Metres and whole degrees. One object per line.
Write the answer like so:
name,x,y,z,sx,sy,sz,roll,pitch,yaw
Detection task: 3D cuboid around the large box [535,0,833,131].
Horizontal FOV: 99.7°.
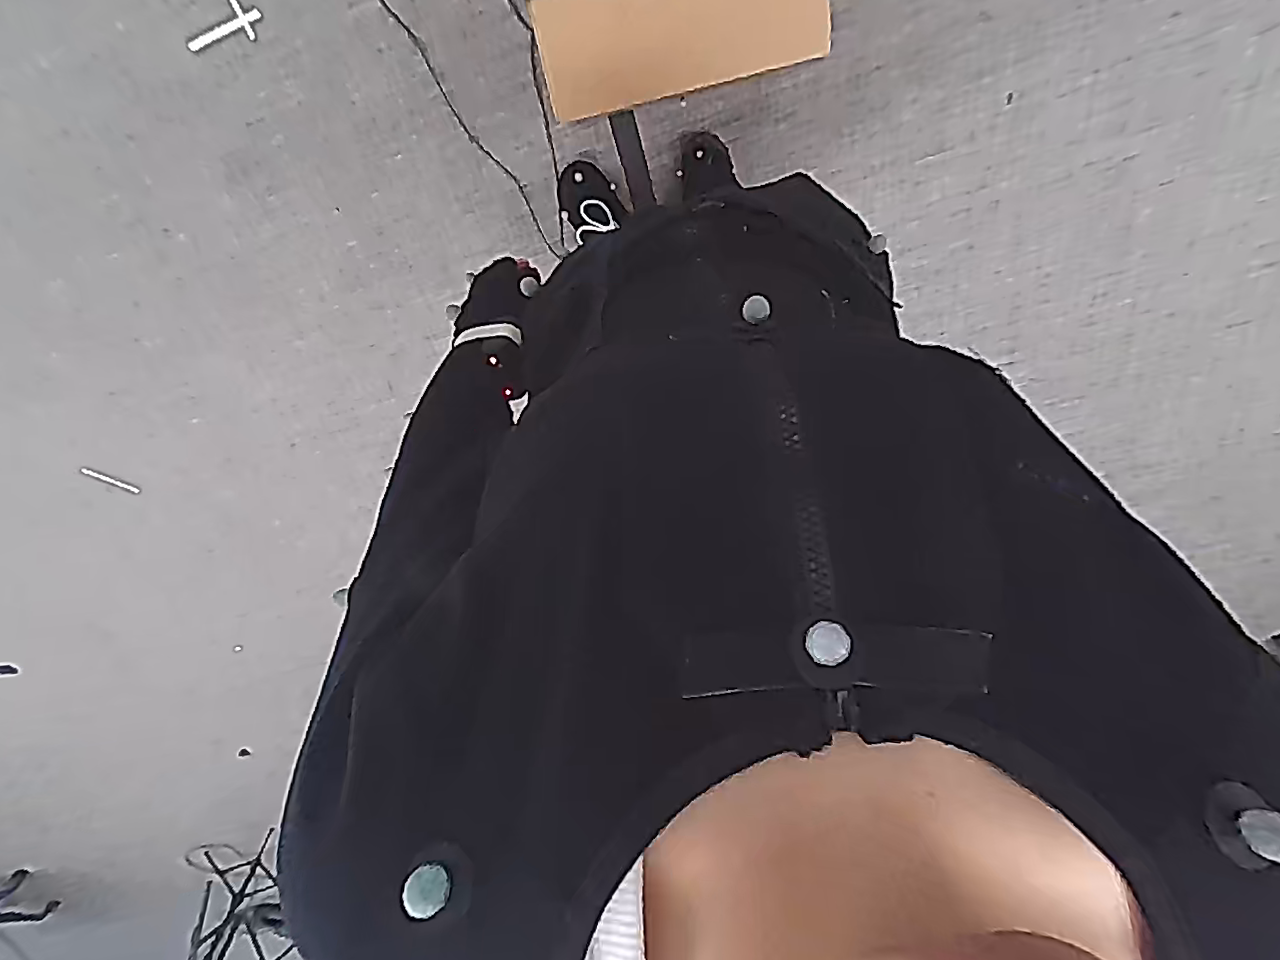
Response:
large box,0.046,-0.768,0.836,0.408,0.320,0.320,-11,124,5
